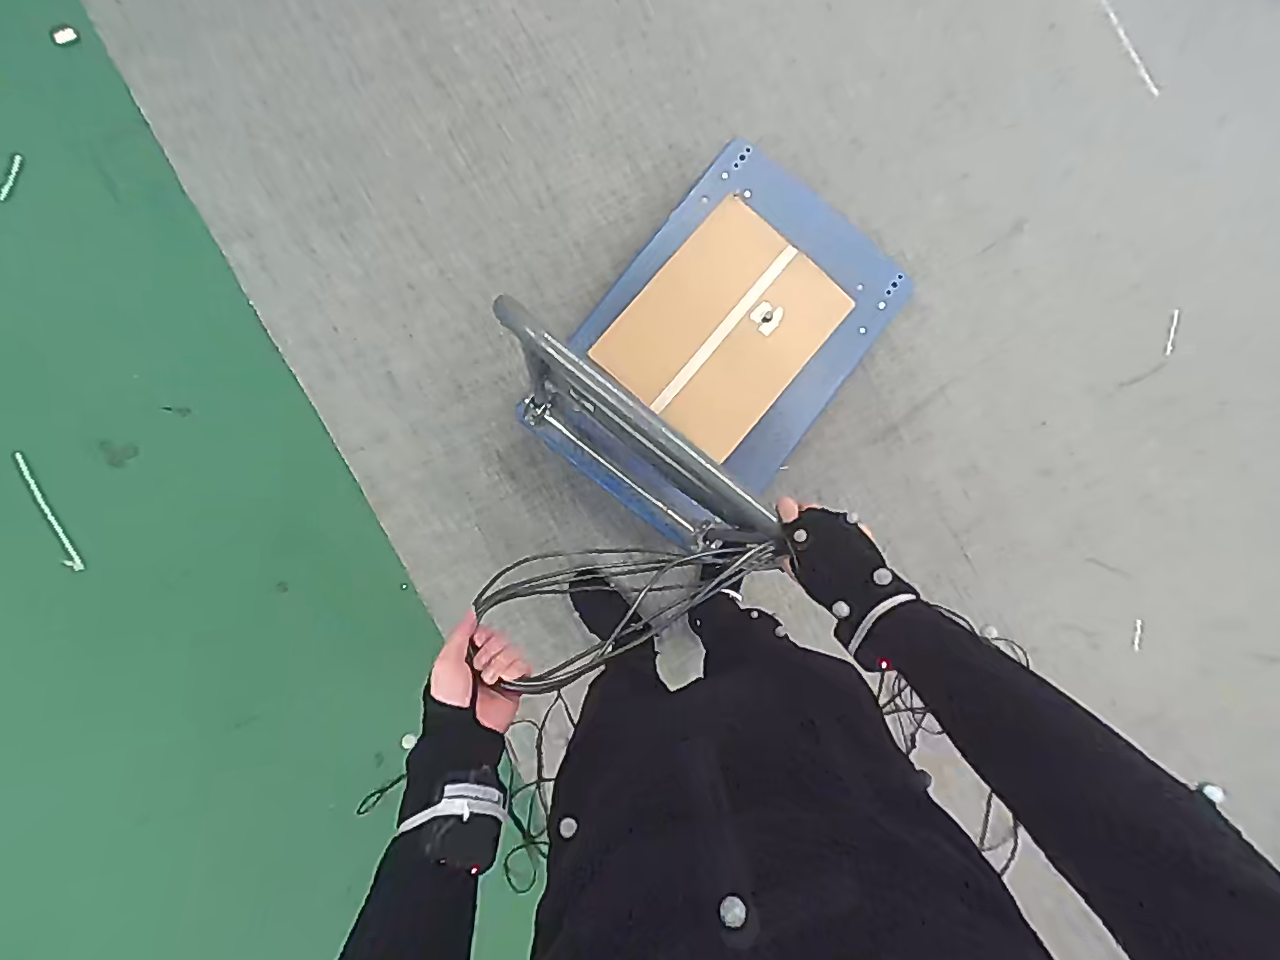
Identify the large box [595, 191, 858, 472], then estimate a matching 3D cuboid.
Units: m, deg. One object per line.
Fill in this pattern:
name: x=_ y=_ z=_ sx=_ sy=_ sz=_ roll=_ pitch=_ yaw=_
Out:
large box: x=0.148 y=-0.268 z=1.112 sx=0.320 sy=0.320 sz=0.408 roll=41 pitch=85 yaw=-3
